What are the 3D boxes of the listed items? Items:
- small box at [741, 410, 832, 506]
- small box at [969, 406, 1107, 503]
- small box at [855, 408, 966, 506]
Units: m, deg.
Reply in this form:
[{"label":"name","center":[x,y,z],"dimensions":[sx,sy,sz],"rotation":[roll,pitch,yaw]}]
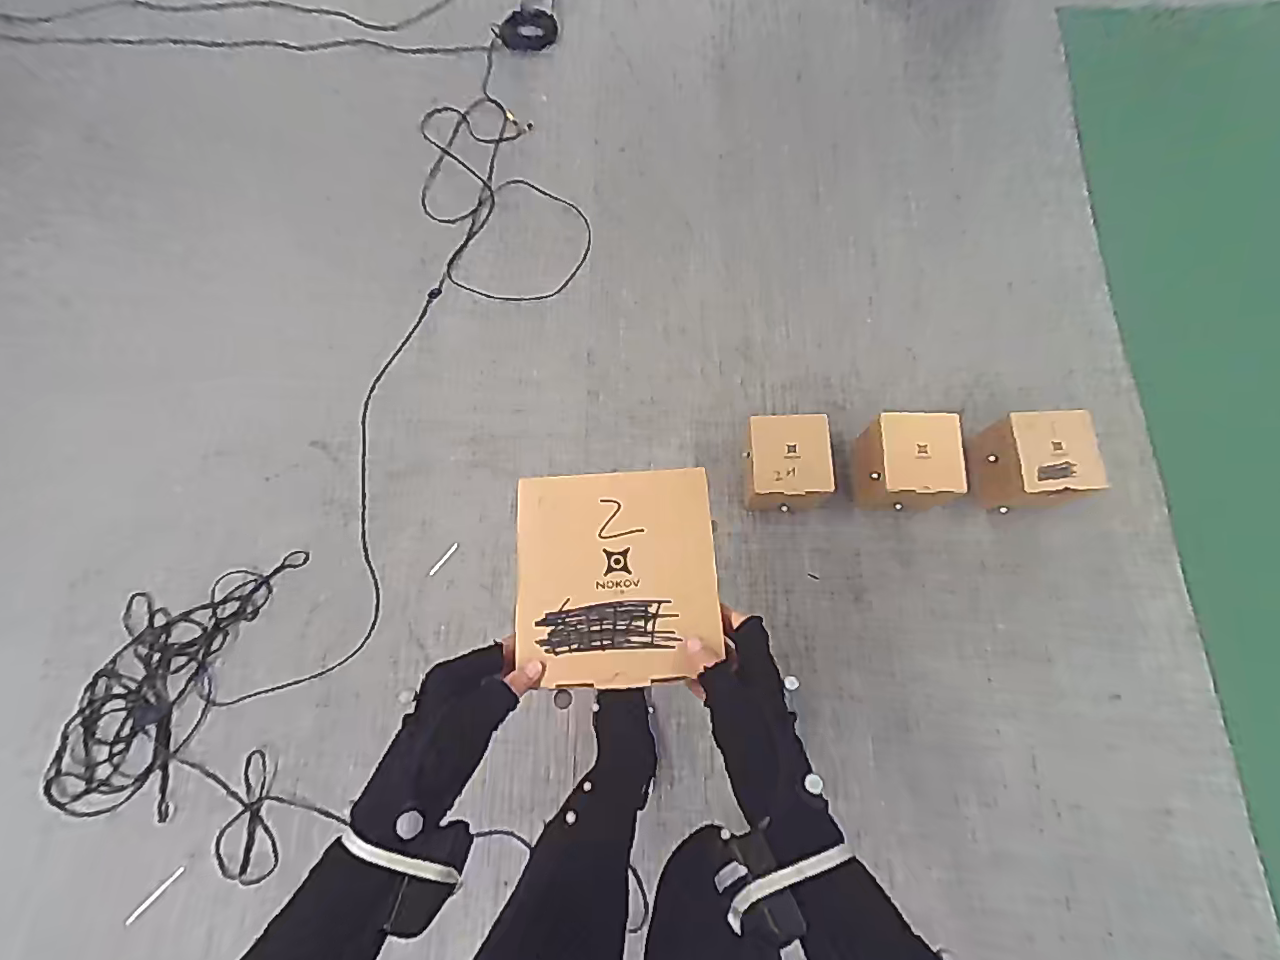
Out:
[{"label":"small box","center":[0.320,-0.045,1.213],"dimensions":[0.168,0.176,0.179],"rotation":[-1,76,4]},{"label":"small box","center":[0.856,-0.048,1.183],"dimensions":[0.168,0.176,0.179],"rotation":[-2,75,3]},{"label":"small box","center":[0.588,-0.047,1.200],"dimensions":[0.168,0.176,0.179],"rotation":[1,76,3]}]
